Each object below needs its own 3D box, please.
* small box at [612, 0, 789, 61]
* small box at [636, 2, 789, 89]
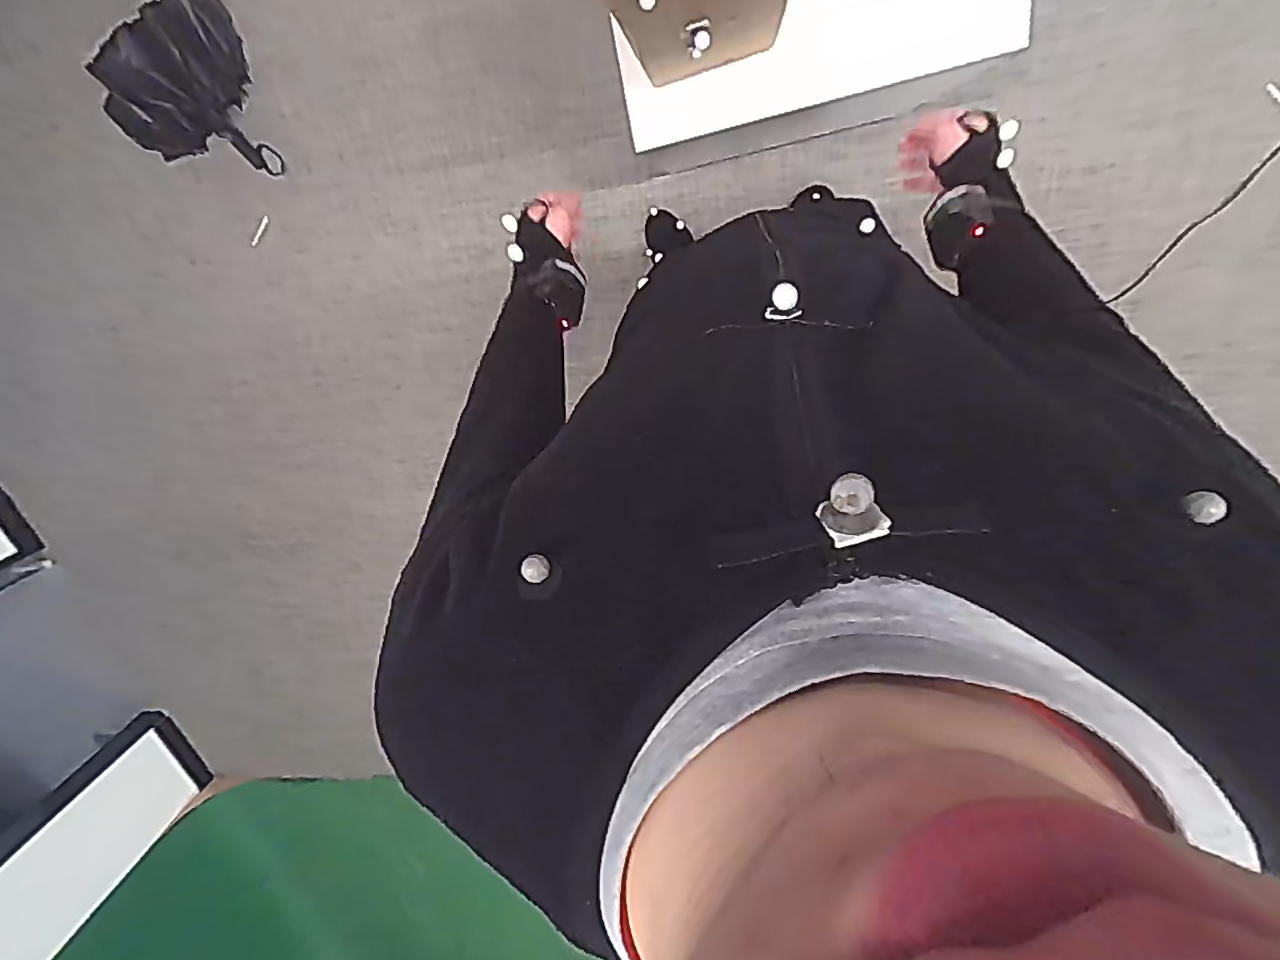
[{"bbox_3d":[0.046,-0.518,0.478,0.168,0.176,0.179,-11,114,16],"label":"small box"},{"bbox_3d":[0.069,-0.591,0.621,0.168,0.176,0.179,-9,114,13],"label":"small box"}]
